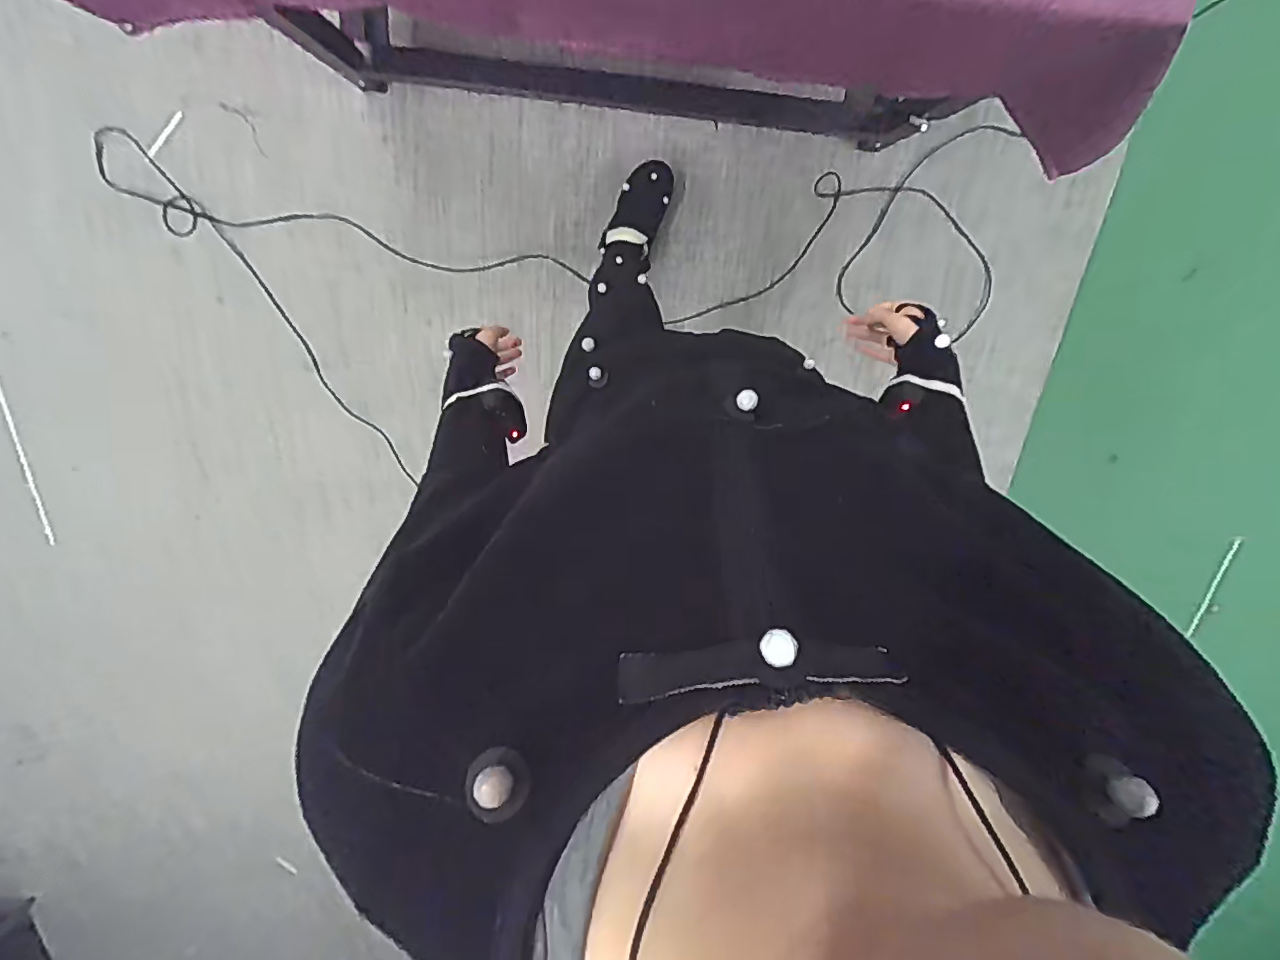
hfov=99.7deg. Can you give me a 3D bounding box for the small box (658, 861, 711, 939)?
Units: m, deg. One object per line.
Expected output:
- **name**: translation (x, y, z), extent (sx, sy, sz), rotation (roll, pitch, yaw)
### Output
- **small box**: translation (0.156, 1.525, 1.971), extent (0.179, 0.176, 0.168), rotation (0, 109, -2)
